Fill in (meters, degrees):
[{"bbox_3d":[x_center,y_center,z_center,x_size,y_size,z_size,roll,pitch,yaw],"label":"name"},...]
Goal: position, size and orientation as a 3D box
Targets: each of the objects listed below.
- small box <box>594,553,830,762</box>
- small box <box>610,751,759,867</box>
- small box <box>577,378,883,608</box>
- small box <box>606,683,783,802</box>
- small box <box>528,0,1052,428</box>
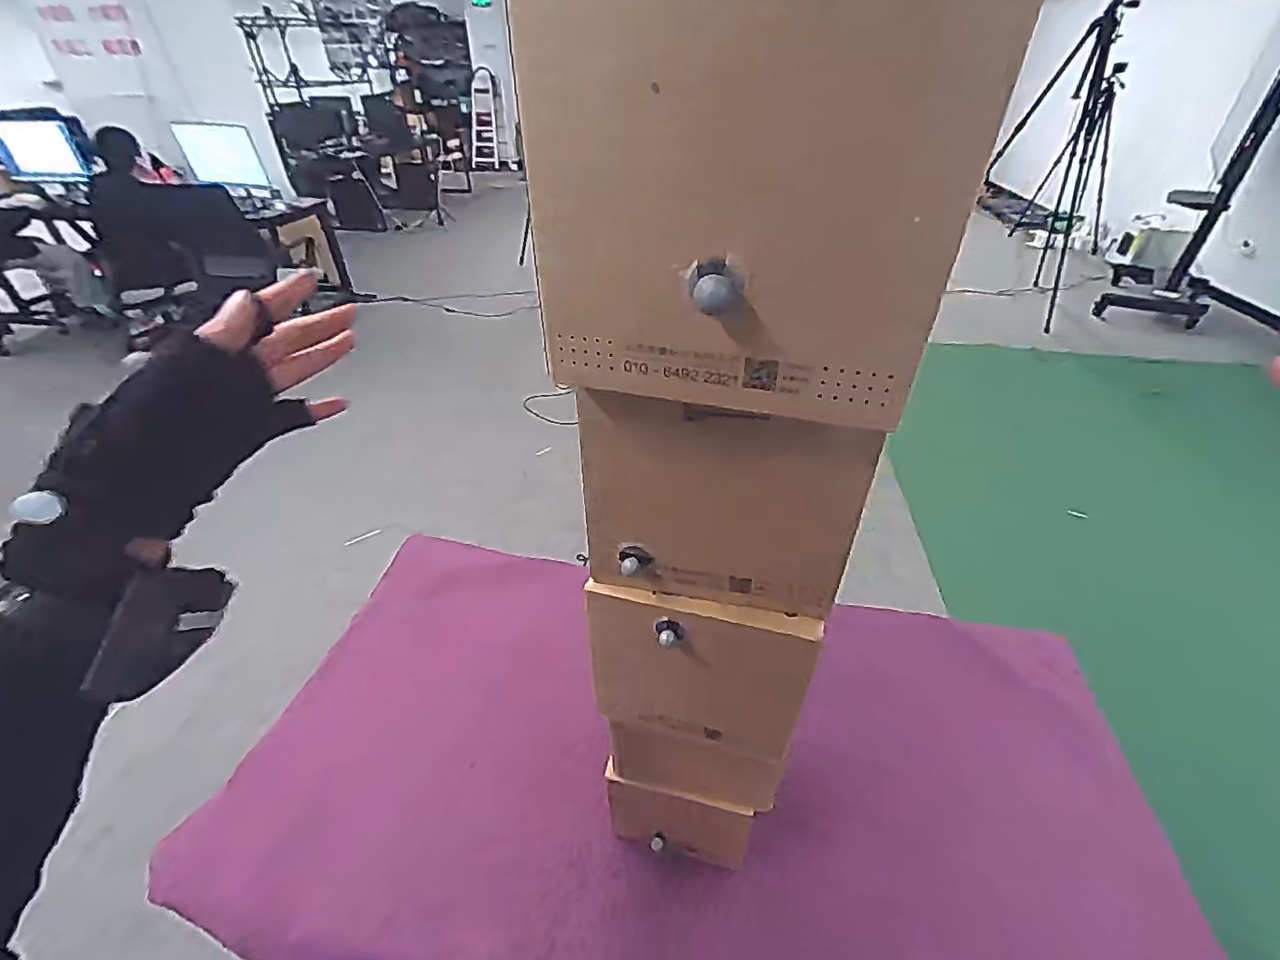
[{"bbox_3d":[0.066,0.105,0.474,0.168,0.176,0.179,9,38,13],"label":"small box"},{"bbox_3d":[0.066,0.349,0.691,0.168,0.176,0.179,8,39,12],"label":"small box"},{"bbox_3d":[0.064,-0.034,0.385,0.168,0.176,0.179,7,37,10],"label":"small box"},{"bbox_3d":[0.071,0.221,0.592,0.179,0.176,0.168,8,38,10],"label":"small box"},{"bbox_3d":[0.059,-0.148,0.264,0.168,0.176,0.179,10,39,14],"label":"small box"}]
